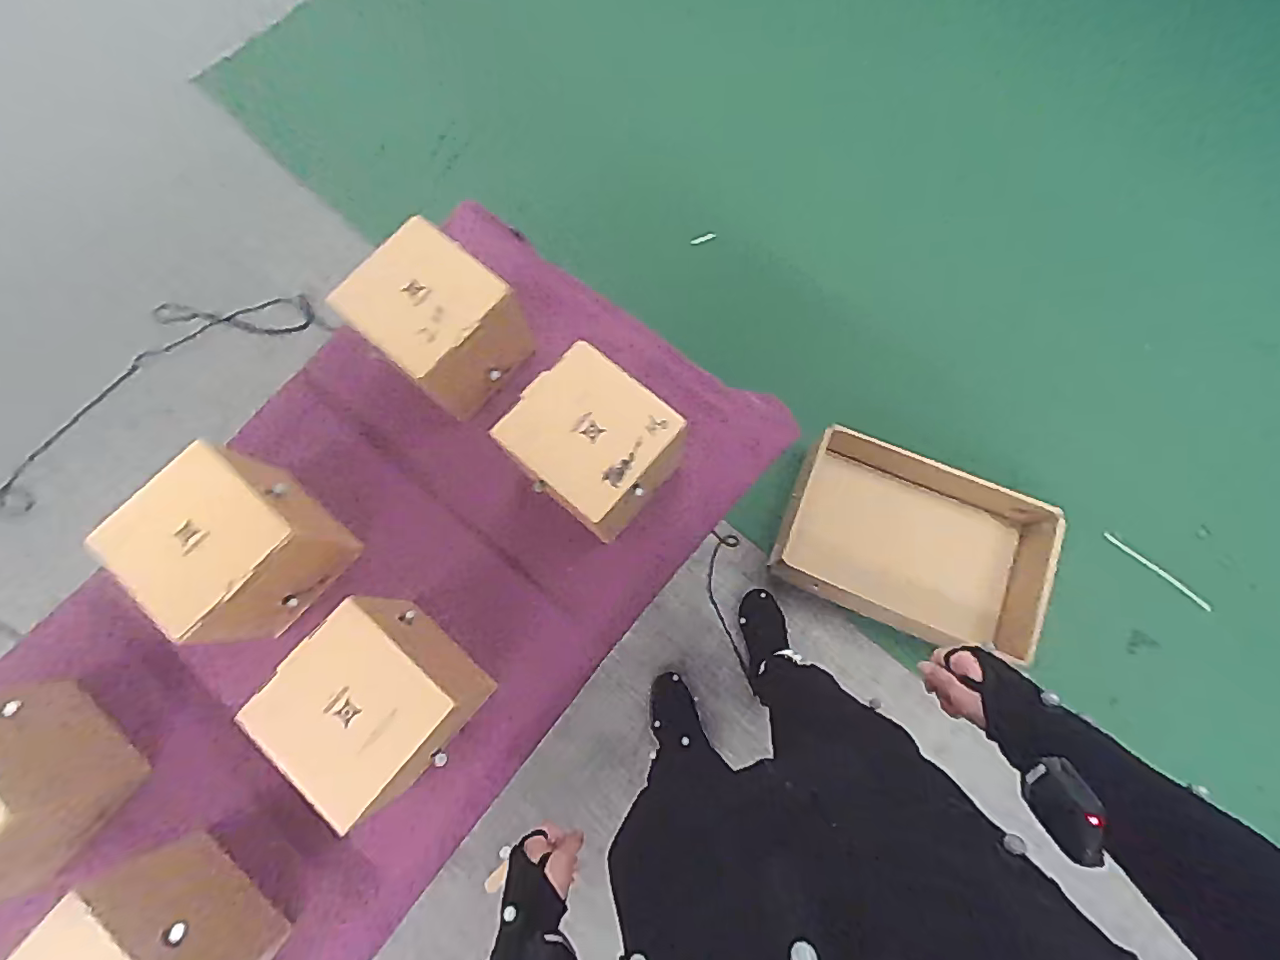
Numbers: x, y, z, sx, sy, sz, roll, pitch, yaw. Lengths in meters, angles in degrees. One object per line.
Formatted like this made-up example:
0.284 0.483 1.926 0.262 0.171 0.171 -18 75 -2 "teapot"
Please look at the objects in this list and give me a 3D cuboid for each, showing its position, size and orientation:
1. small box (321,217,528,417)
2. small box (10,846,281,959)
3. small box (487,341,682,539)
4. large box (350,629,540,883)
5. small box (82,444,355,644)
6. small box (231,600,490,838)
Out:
-0.287 -0.215 0.759 0.179 0.176 0.168 39 81 9 "small box"
-0.539 0.540 0.573 0.179 0.176 0.168 37 79 11 "small box"
-0.064 -0.041 0.714 0.179 0.176 0.168 39 80 12 "small box"
-0.502 0.587 1.245 0.408 0.320 0.320 38 79 10 "large box"
-0.516 0.088 0.690 0.179 0.176 0.168 40 79 8 "small box"
-0.311 0.265 0.642 0.179 0.176 0.168 39 80 10 "small box"
